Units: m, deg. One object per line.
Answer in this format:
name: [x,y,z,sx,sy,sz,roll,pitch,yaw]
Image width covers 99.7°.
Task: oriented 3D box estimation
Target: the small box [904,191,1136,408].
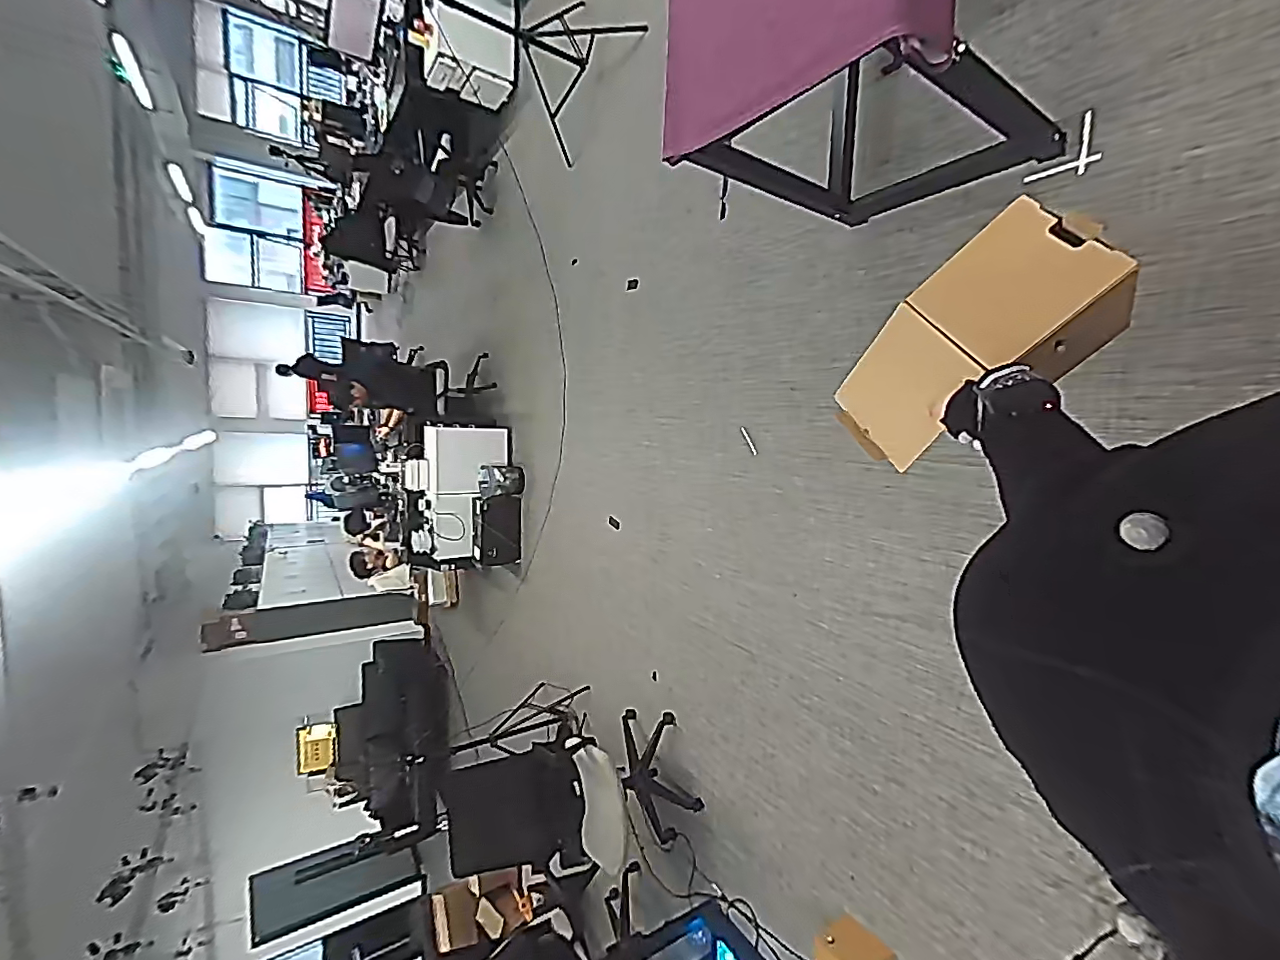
small box: [0.491,-0.222,0.708,0.179,0.176,0.168,-44,55,22]
